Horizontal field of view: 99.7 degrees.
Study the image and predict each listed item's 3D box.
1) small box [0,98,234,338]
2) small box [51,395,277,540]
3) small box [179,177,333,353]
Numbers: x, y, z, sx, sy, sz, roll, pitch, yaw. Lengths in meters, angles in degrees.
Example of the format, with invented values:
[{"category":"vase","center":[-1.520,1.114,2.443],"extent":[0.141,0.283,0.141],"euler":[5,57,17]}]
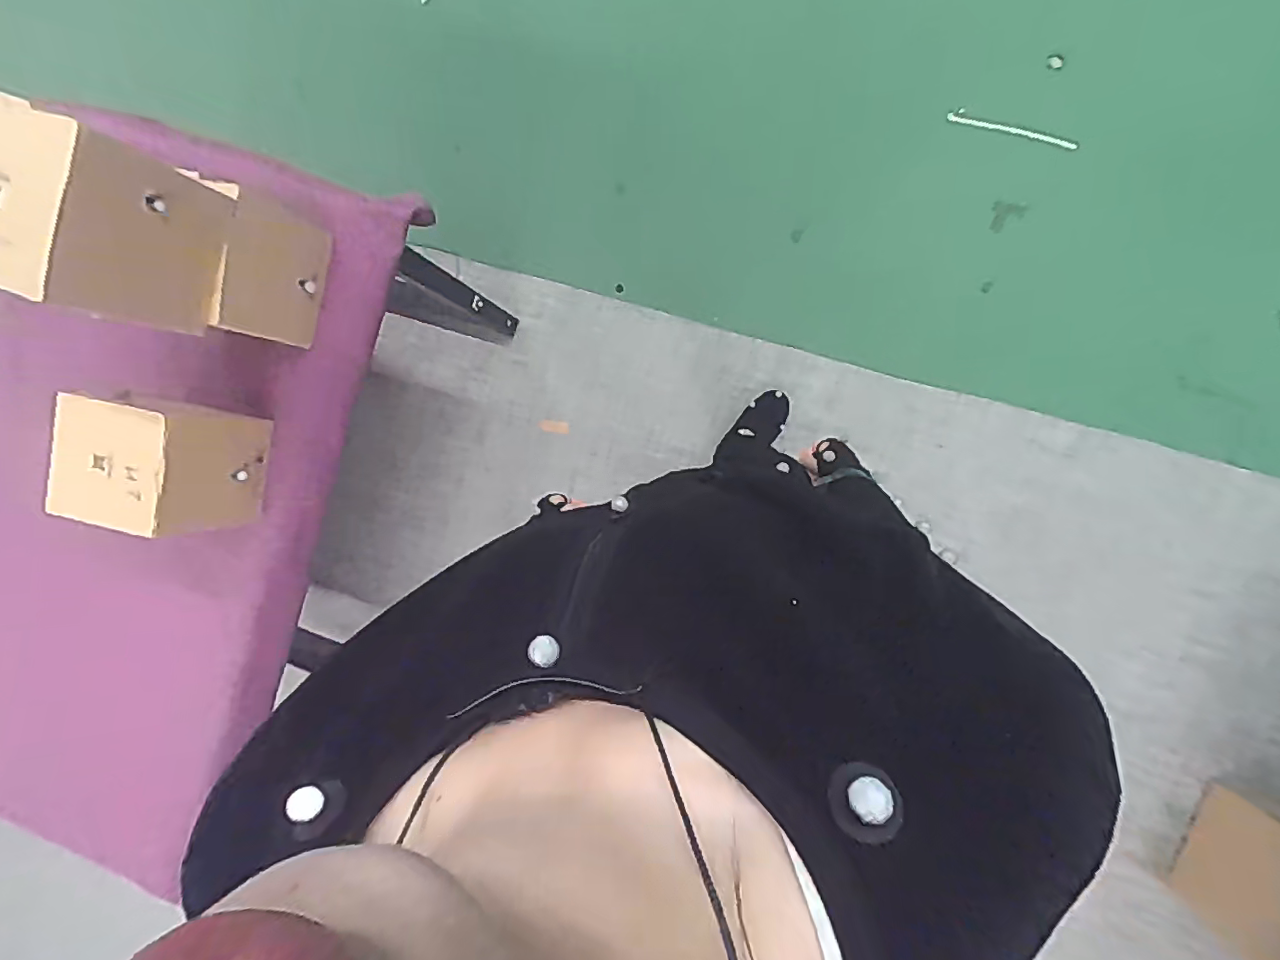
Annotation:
[{"category":"small box","center":[-0.602,-0.278,0.600],"extent":[0.168,0.176,0.179],"euler":[20,96,7]},{"category":"small box","center":[-0.681,-0.020,0.788],"extent":[0.179,0.176,0.168],"euler":[12,95,8]},{"category":"small box","center":[-0.569,-0.294,0.760],"extent":[0.168,0.176,0.179],"euler":[14,95,7]}]
